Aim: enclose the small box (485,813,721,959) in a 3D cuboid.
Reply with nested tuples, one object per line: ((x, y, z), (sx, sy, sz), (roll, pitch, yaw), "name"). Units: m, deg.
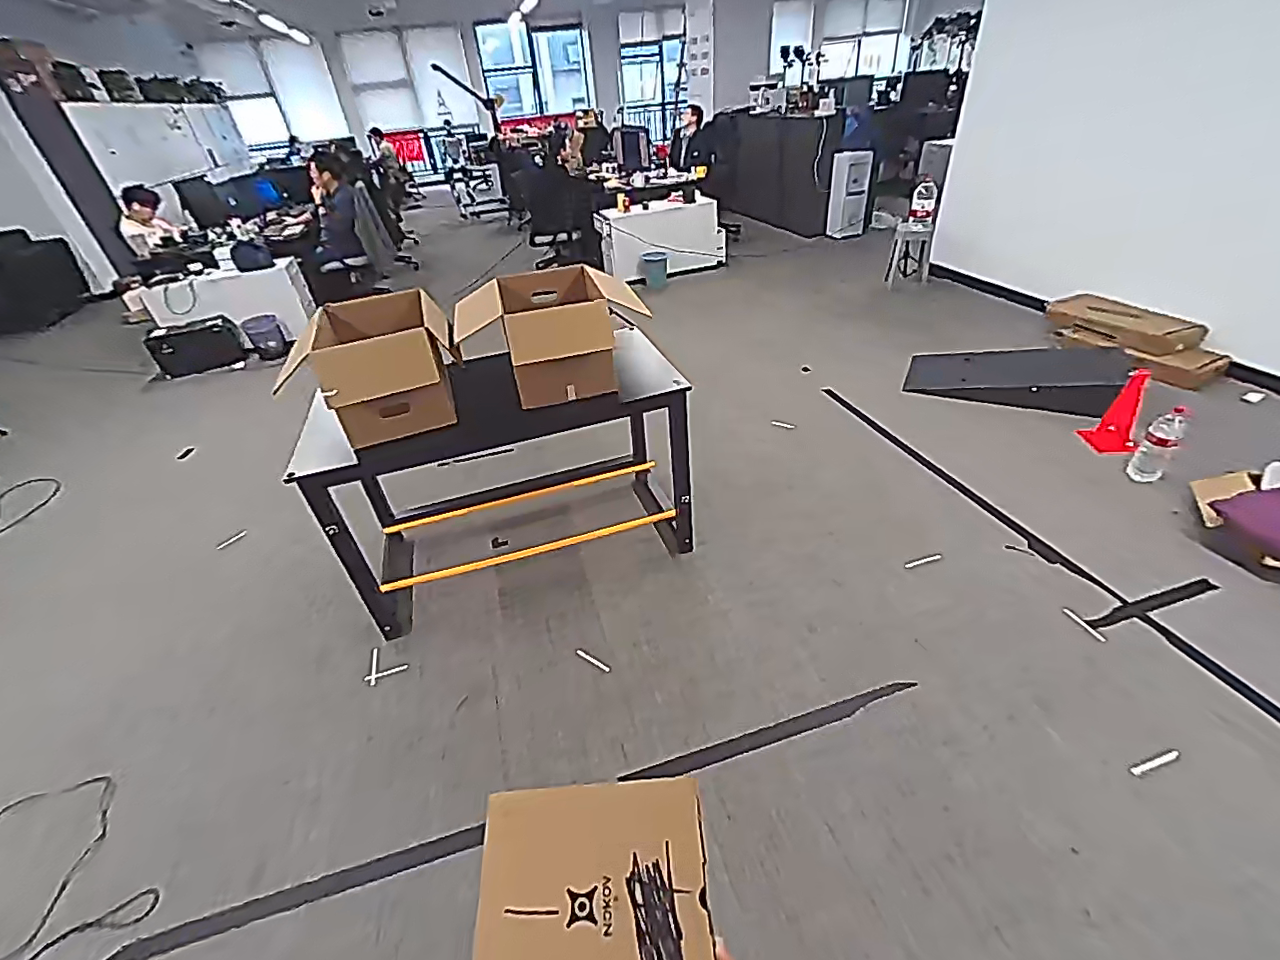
((-0.025, 0.395, 0.461), (0.179, 0.176, 0.168), (-4, 49, 0), "small box")
